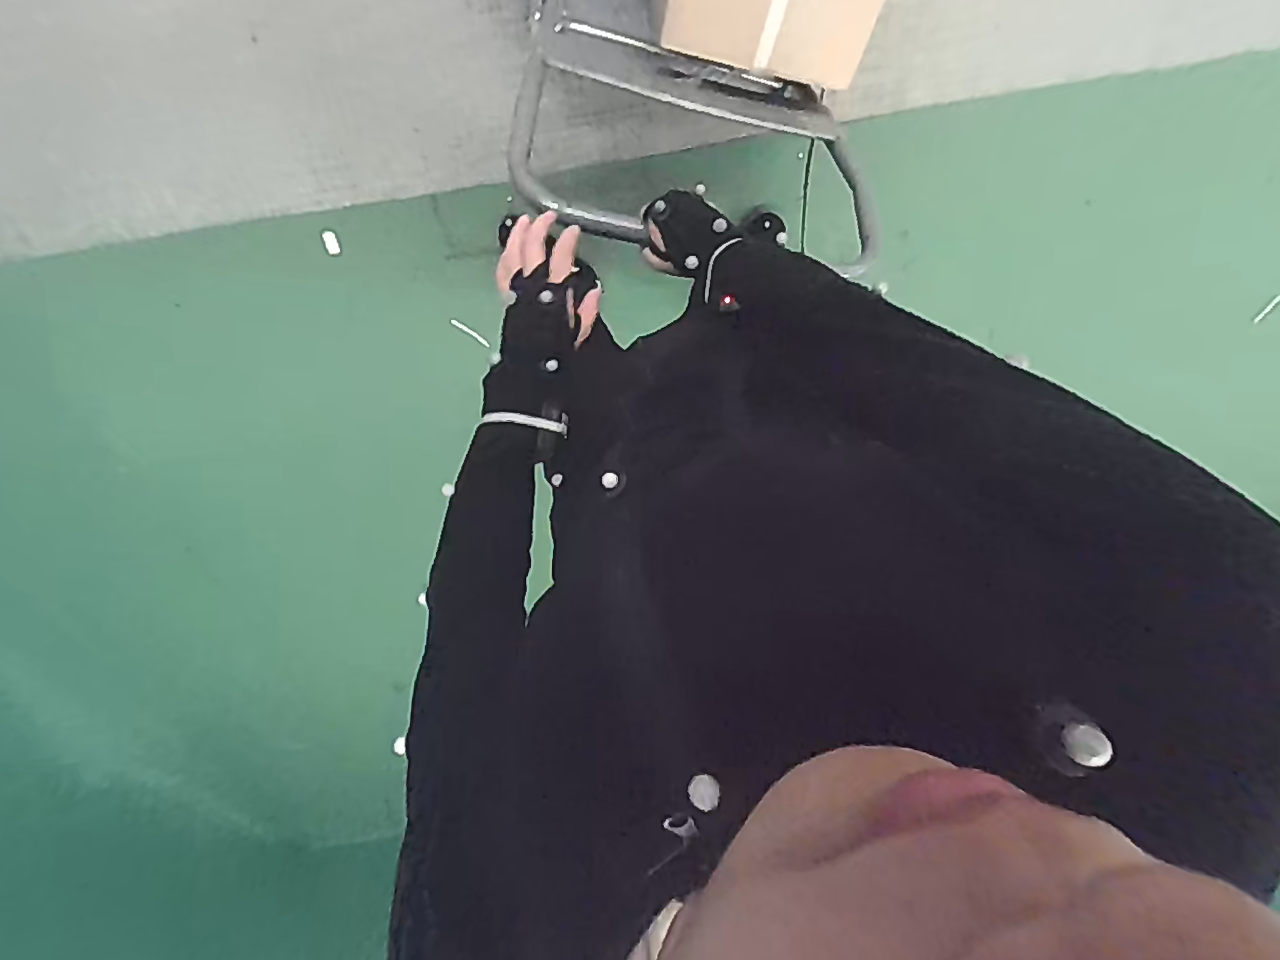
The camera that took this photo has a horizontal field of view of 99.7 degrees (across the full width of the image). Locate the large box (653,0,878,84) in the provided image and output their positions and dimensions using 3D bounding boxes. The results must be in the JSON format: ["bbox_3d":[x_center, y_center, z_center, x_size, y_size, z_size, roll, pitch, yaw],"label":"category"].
[{"bbox_3d":[0.207,-0.882,0.793,0.320,0.320,0.408,5,138,-10],"label":"large box"}]
